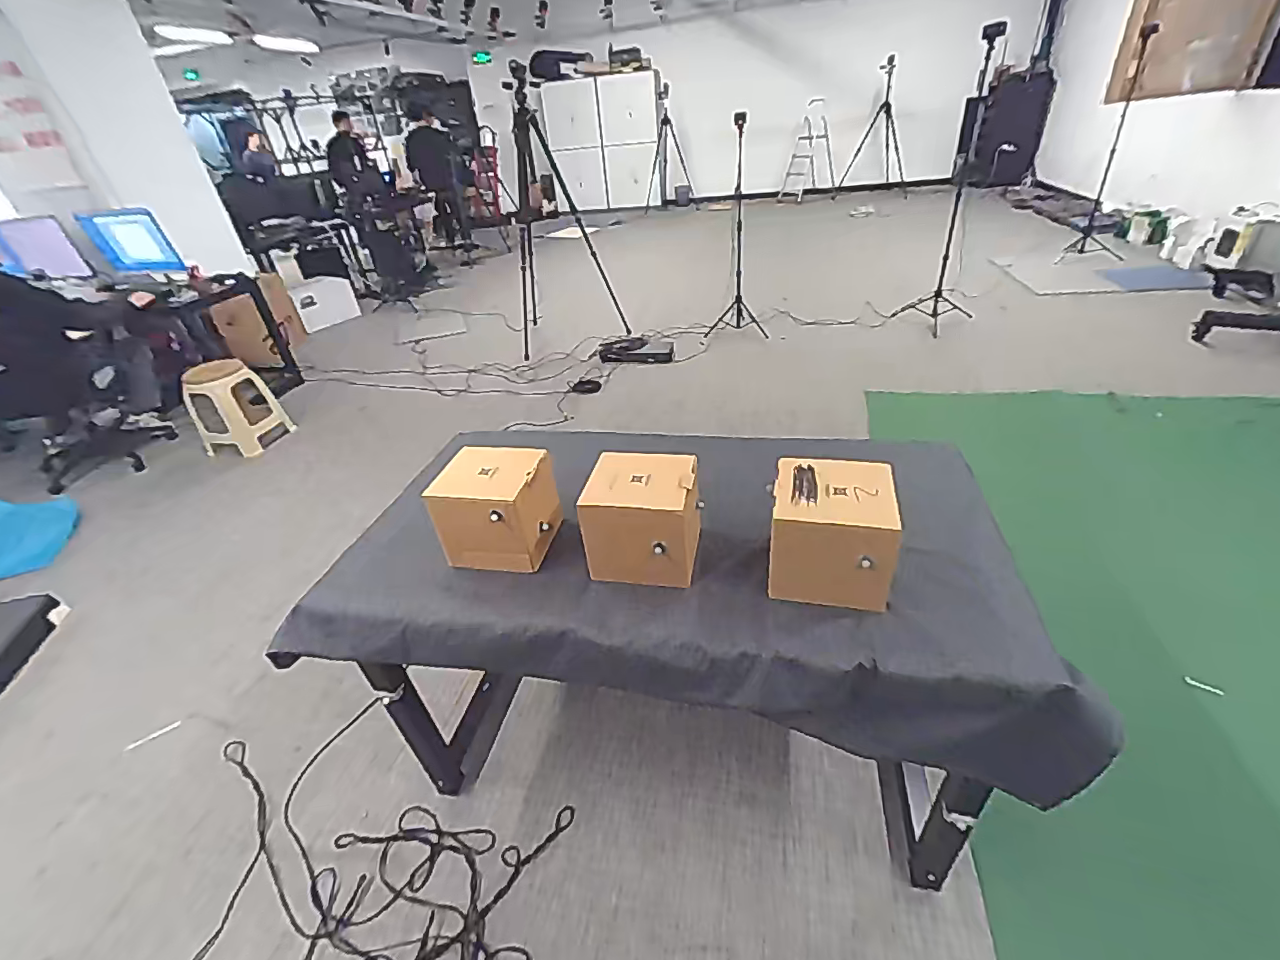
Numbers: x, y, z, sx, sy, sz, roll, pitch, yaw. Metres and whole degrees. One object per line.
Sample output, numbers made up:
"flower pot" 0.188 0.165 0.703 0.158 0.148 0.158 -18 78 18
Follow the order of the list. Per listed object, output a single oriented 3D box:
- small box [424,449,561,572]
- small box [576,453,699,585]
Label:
"small box" -0.266 0.055 1.015 0.179 0.176 0.168 2 35 12
"small box" 0.006 0.067 0.948 0.179 0.176 0.168 1 33 14
